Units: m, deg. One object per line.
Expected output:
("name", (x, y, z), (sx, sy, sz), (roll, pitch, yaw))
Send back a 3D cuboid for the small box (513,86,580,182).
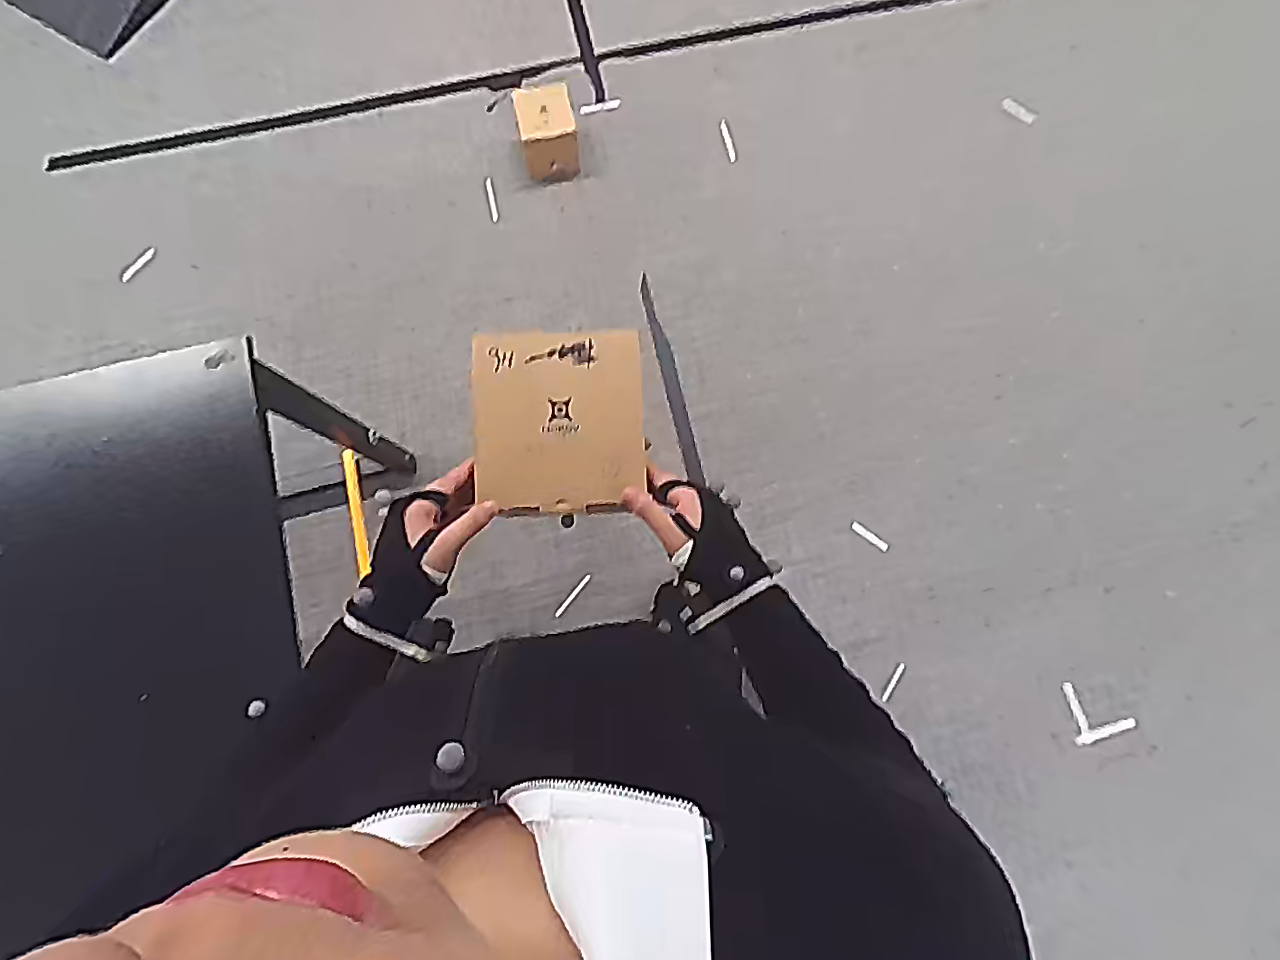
("small box", (-0.287, -1.071, 1.683), (0.168, 0.176, 0.179), (-13, 80, -4))
